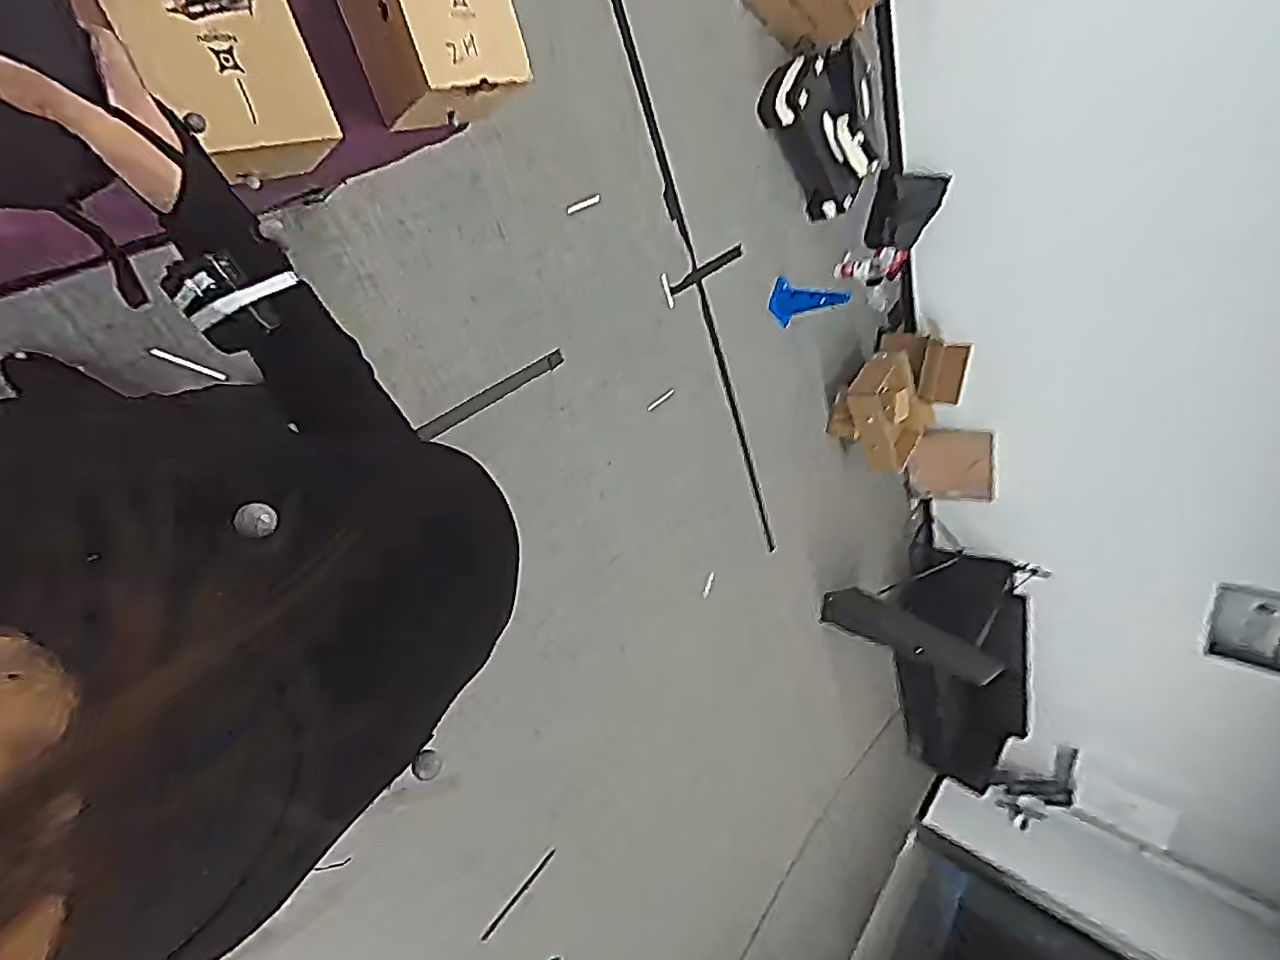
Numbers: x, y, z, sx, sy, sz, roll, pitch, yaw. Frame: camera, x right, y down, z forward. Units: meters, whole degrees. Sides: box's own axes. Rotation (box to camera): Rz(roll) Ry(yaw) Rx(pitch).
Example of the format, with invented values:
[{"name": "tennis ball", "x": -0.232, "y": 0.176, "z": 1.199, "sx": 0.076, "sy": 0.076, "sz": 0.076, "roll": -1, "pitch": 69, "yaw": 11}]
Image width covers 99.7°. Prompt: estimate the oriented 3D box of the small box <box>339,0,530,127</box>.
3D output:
[{"name": "small box", "x": -0.286, "y": -0.619, "z": 0.745, "sx": 0.168, "sy": 0.176, "sz": 0.179, "roll": -33, "pitch": 120, "yaw": -32}]
